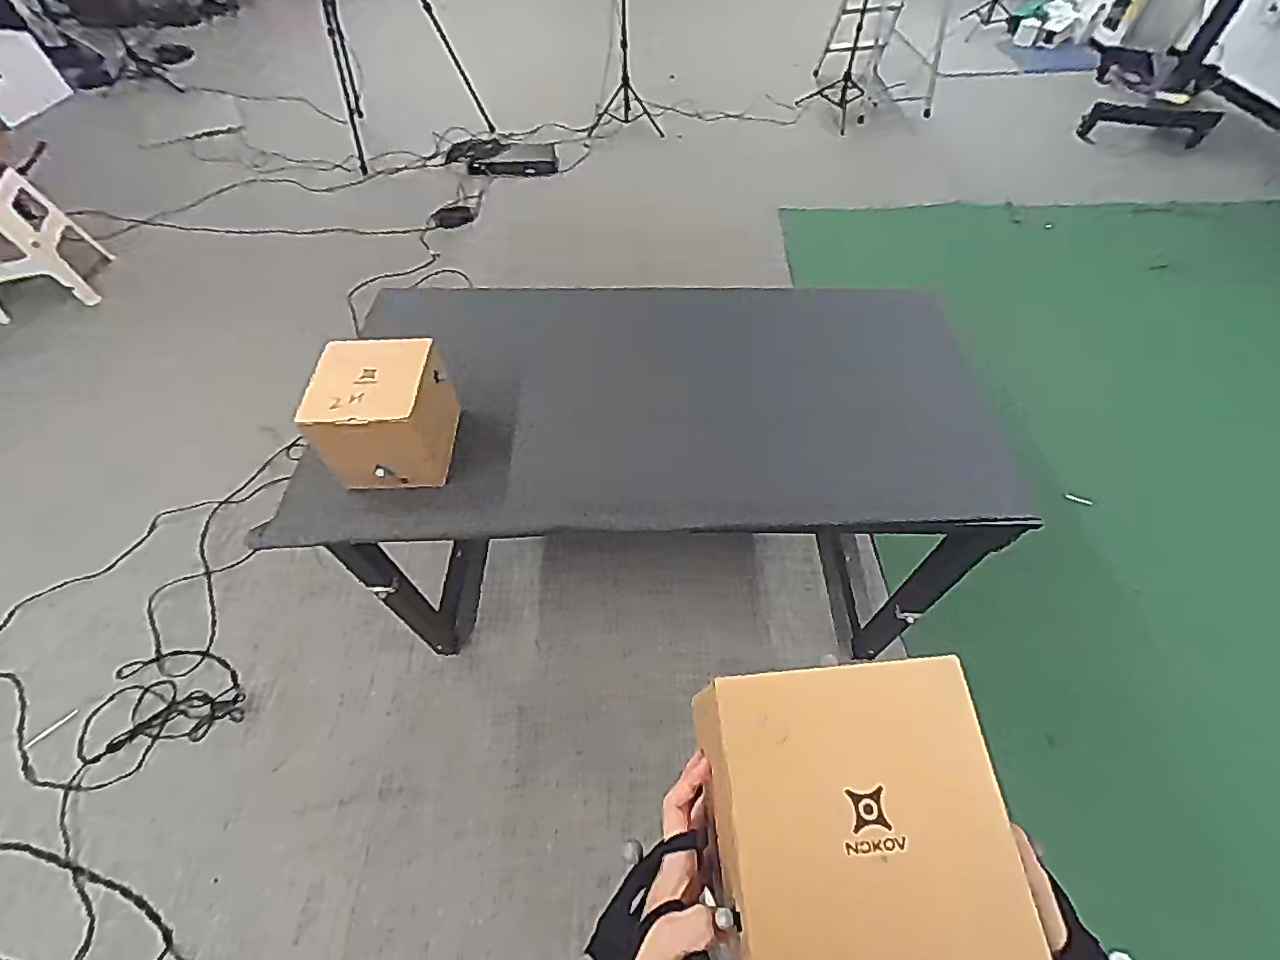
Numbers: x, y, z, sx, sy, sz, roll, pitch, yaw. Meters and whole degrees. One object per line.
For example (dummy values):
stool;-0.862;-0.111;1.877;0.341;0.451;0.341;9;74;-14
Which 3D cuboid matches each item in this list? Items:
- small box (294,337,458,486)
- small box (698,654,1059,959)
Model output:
small box;-0.404;-0.108;0.868;0.168;0.176;0.179;-2;55;-1
small box;0.139;0.232;0.392;0.168;0.176;0.179;-4;66;-2
